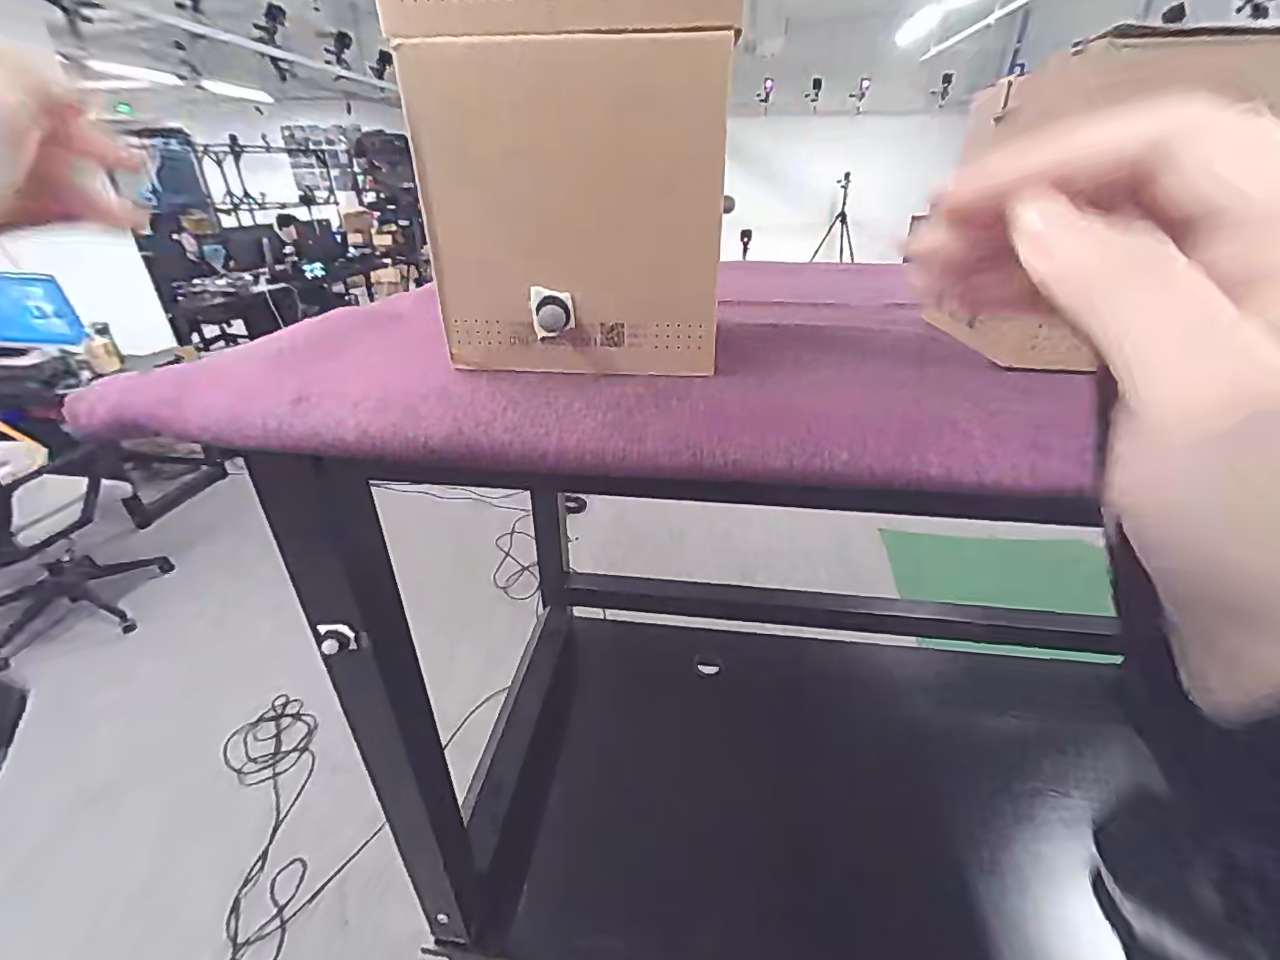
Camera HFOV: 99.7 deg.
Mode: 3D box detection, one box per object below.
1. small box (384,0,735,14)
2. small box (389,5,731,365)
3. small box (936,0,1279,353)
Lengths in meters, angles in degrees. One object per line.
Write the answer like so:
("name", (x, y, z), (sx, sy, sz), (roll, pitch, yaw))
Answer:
("small box", (-0.040, -0.330, 0.282), (0.179, 0.176, 0.168), (0, 30, 3))
("small box", (-0.033, -0.185, 0.360), (0.168, 0.176, 0.179), (1, 30, 4))
("small box", (0.317, -0.184, 0.352), (0.179, 0.176, 0.168), (4, 28, 7))
